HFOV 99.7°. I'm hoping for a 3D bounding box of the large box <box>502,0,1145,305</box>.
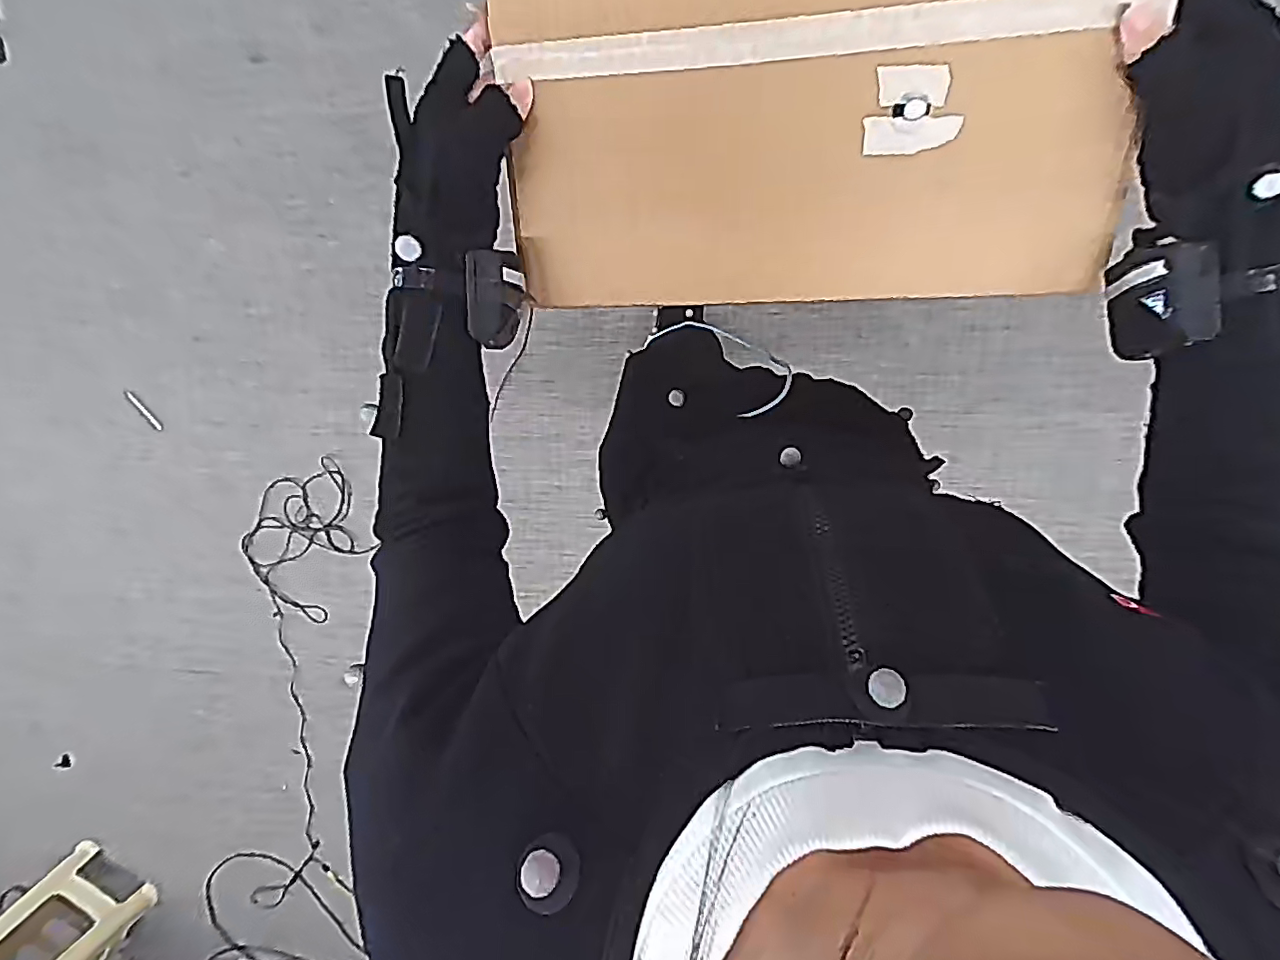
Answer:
[{"bbox_3d":[0.123,-0.339,0.487,0.408,0.320,0.320,1,113,8],"label":"large box"}]
